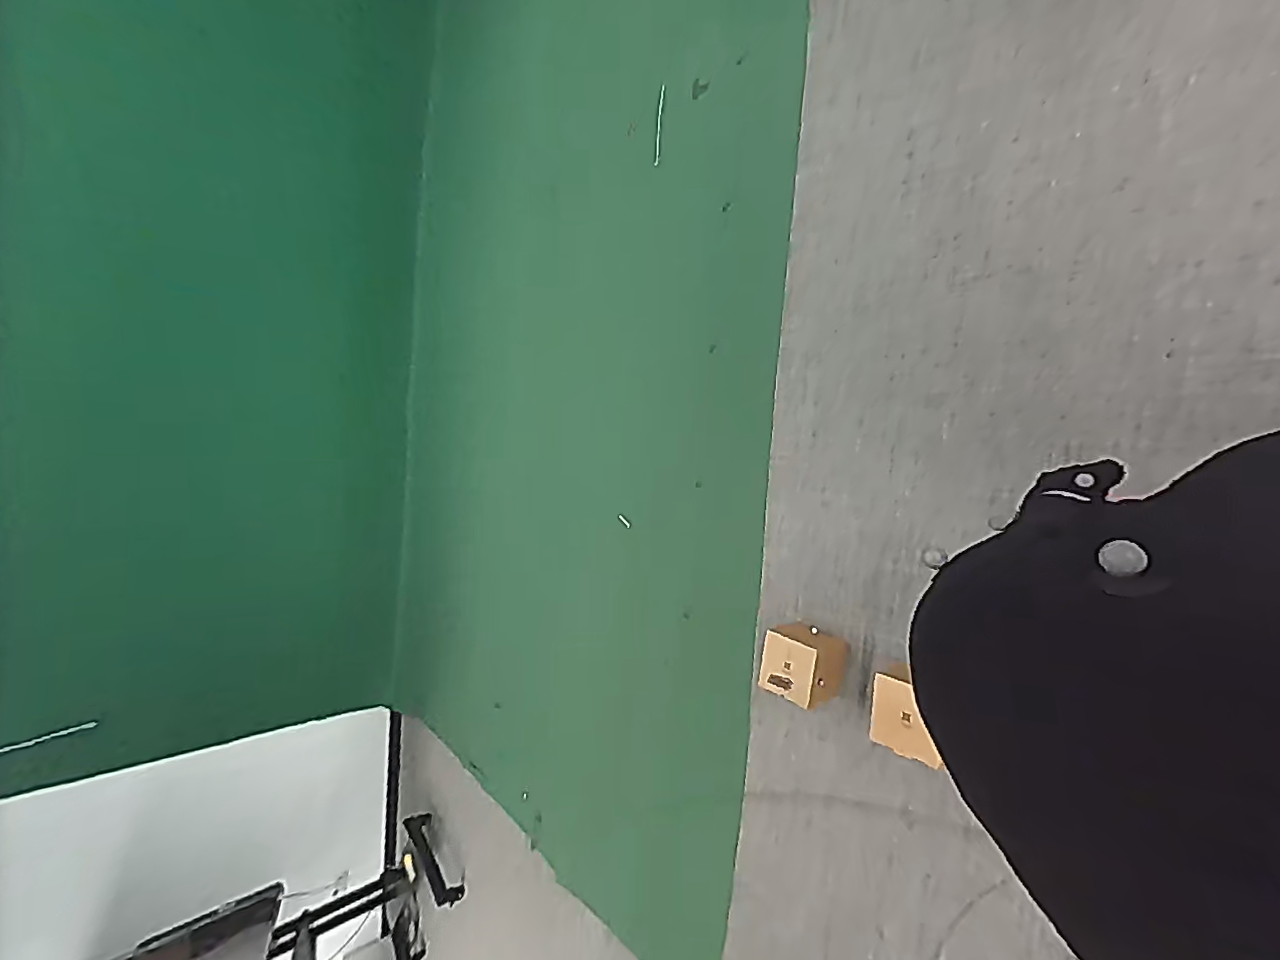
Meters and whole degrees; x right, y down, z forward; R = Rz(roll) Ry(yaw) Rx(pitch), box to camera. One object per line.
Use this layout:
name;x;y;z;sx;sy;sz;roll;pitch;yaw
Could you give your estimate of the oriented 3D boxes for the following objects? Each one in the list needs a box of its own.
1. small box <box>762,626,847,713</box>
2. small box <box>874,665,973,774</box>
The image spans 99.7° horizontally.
small box;0.479;0.540;1.566;0.168;0.176;0.179;12;96;47
small box;0.698;0.575;1.328;0.168;0.176;0.179;7;94;47
